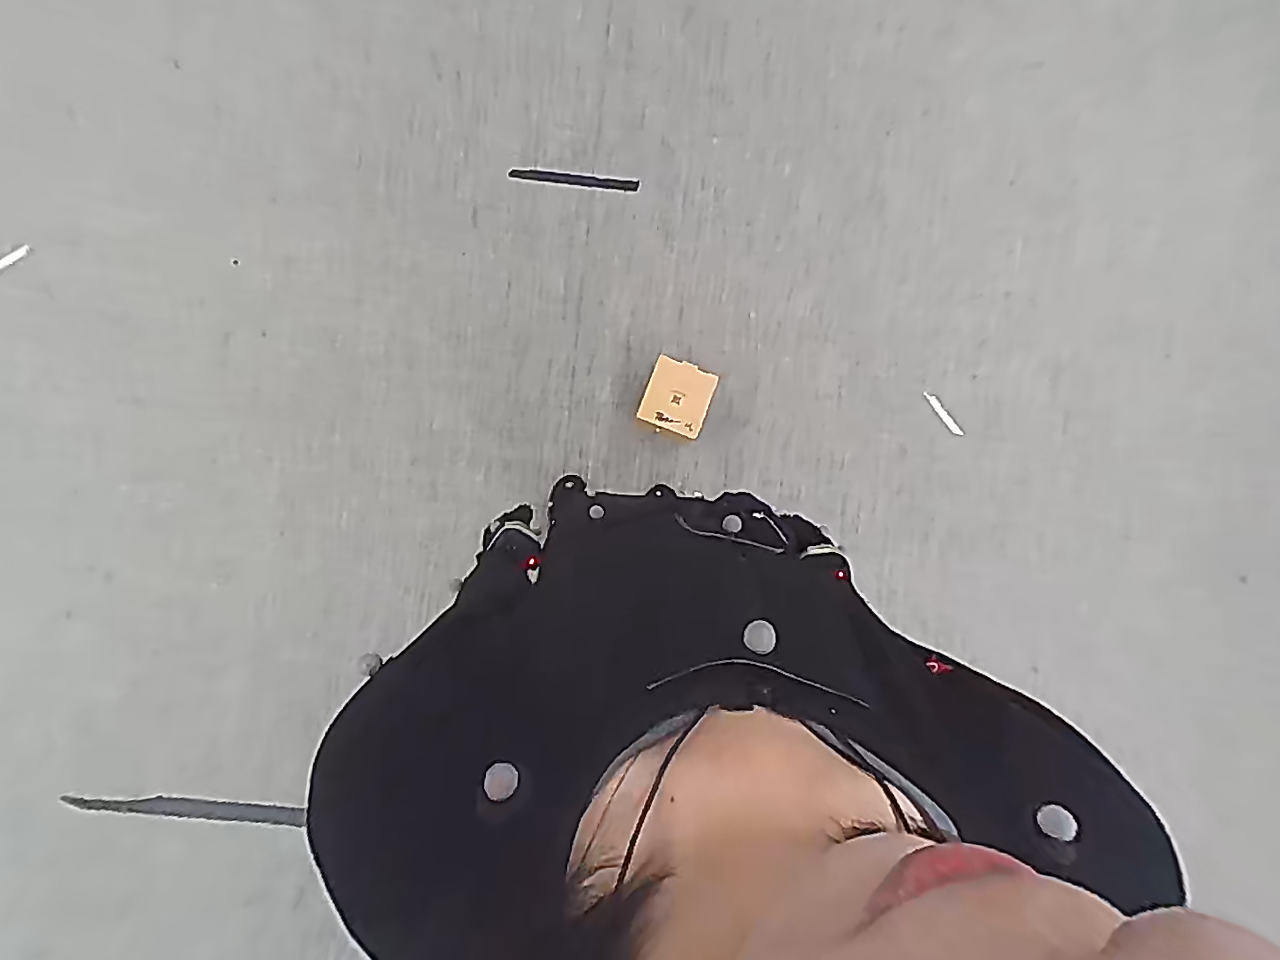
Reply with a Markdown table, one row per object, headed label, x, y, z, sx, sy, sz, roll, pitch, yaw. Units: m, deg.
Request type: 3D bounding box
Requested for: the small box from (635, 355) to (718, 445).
| label | x | y | z | sx | sy | sz | roll | pitch | yaw |
| --- | --- | --- | --- | --- | --- | --- | --- | --- | --- |
| small box | 0.089 | -0.207 | 1.451 | 0.168 | 0.176 | 0.179 | 21 | 88 | -3 |
